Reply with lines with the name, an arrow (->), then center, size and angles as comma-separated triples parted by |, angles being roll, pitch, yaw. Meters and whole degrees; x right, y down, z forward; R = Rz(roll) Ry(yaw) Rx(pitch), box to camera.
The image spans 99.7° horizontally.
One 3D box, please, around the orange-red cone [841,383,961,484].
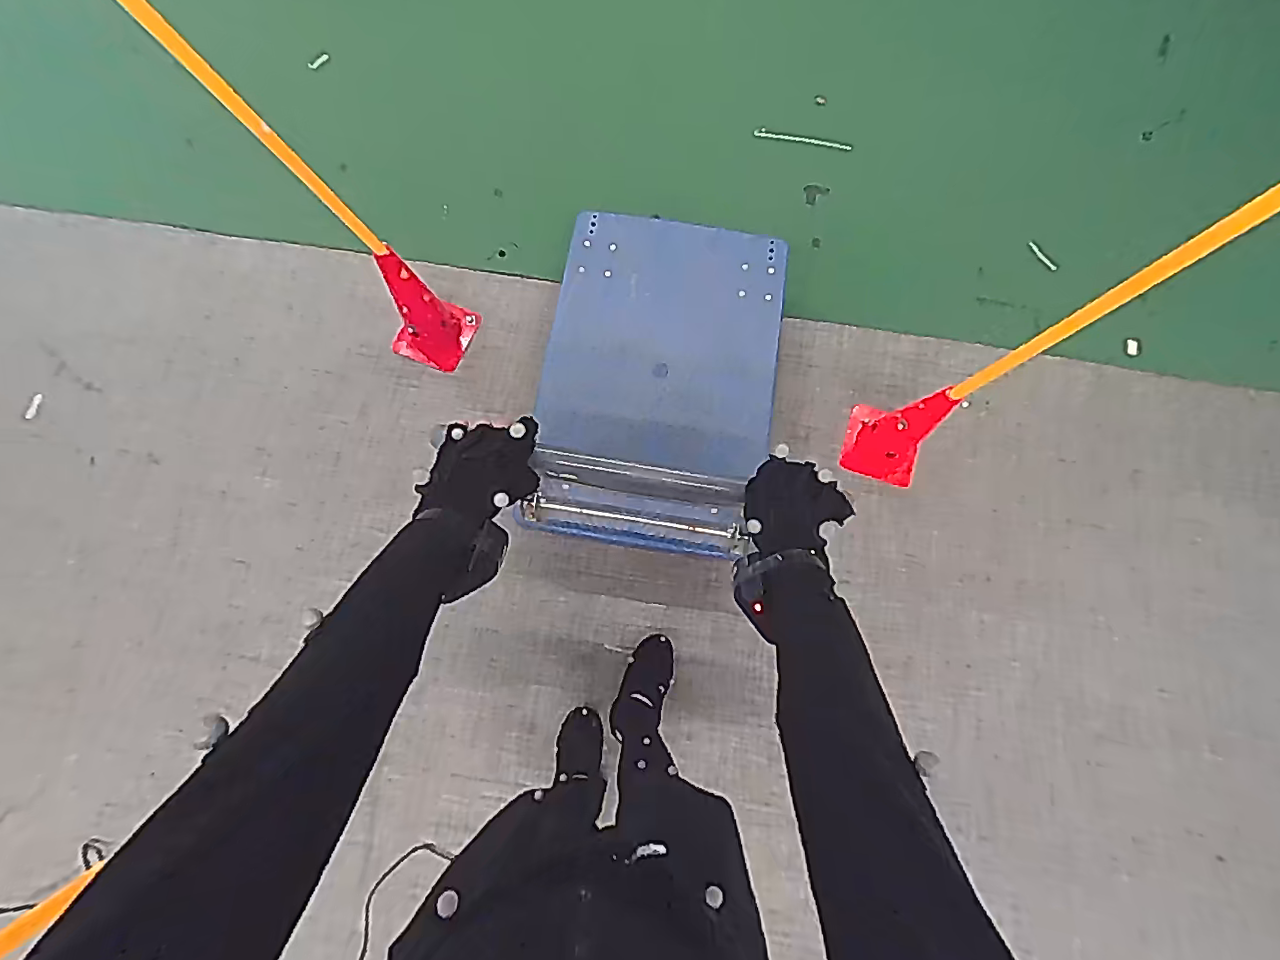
orange-red cone -> 0.669, -0.144, 1.324 | 0.198, 0.360, 0.199 | 20, 77, 5
